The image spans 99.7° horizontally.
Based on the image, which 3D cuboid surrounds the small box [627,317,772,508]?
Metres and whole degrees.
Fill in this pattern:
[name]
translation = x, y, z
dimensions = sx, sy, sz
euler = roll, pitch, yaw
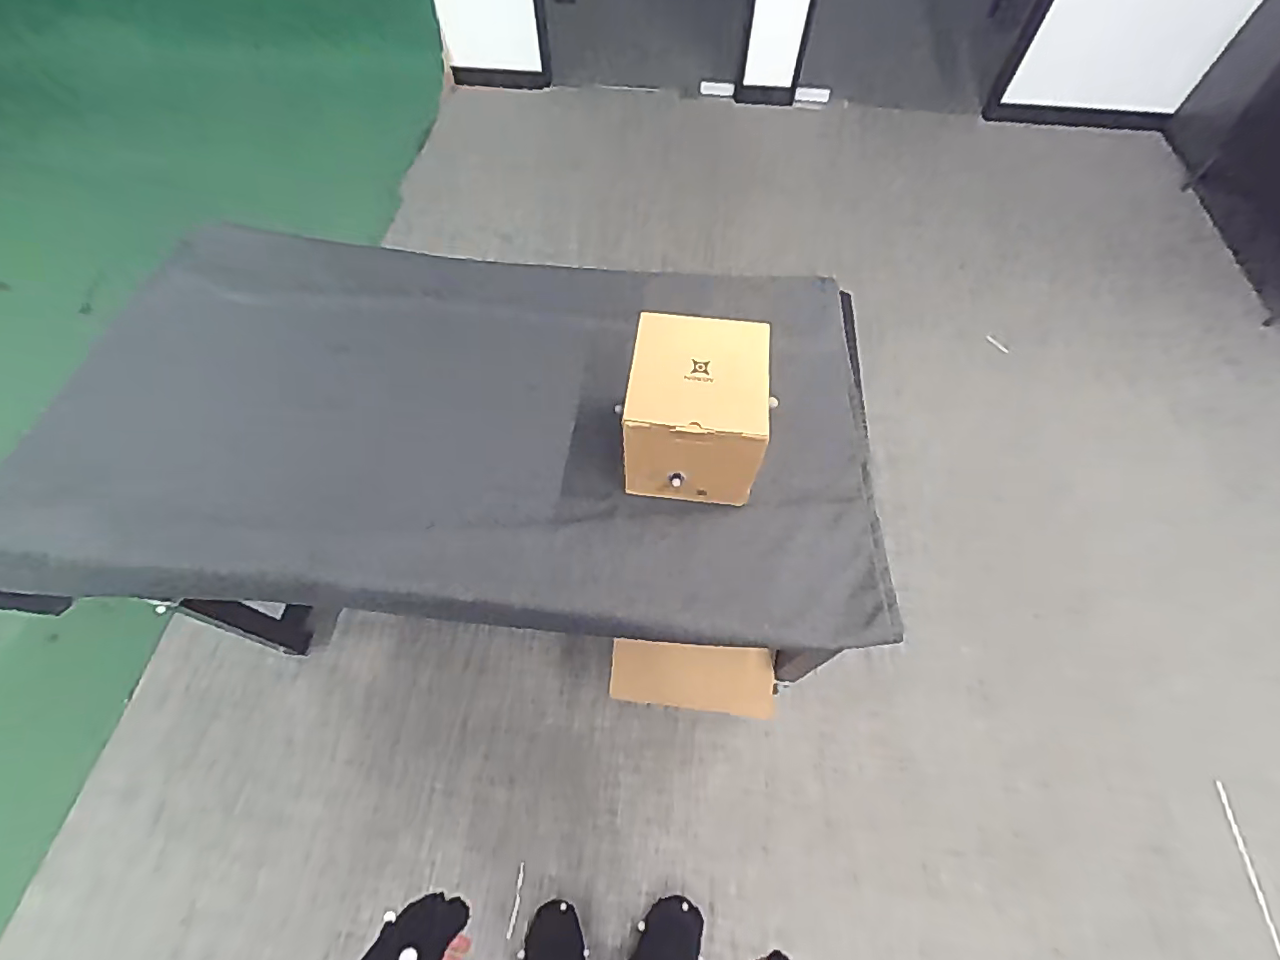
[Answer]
[small box]
translation = 0.074, -0.084, 0.712
dimensions = 0.168, 0.176, 0.179
euler = 6, 60, 3
